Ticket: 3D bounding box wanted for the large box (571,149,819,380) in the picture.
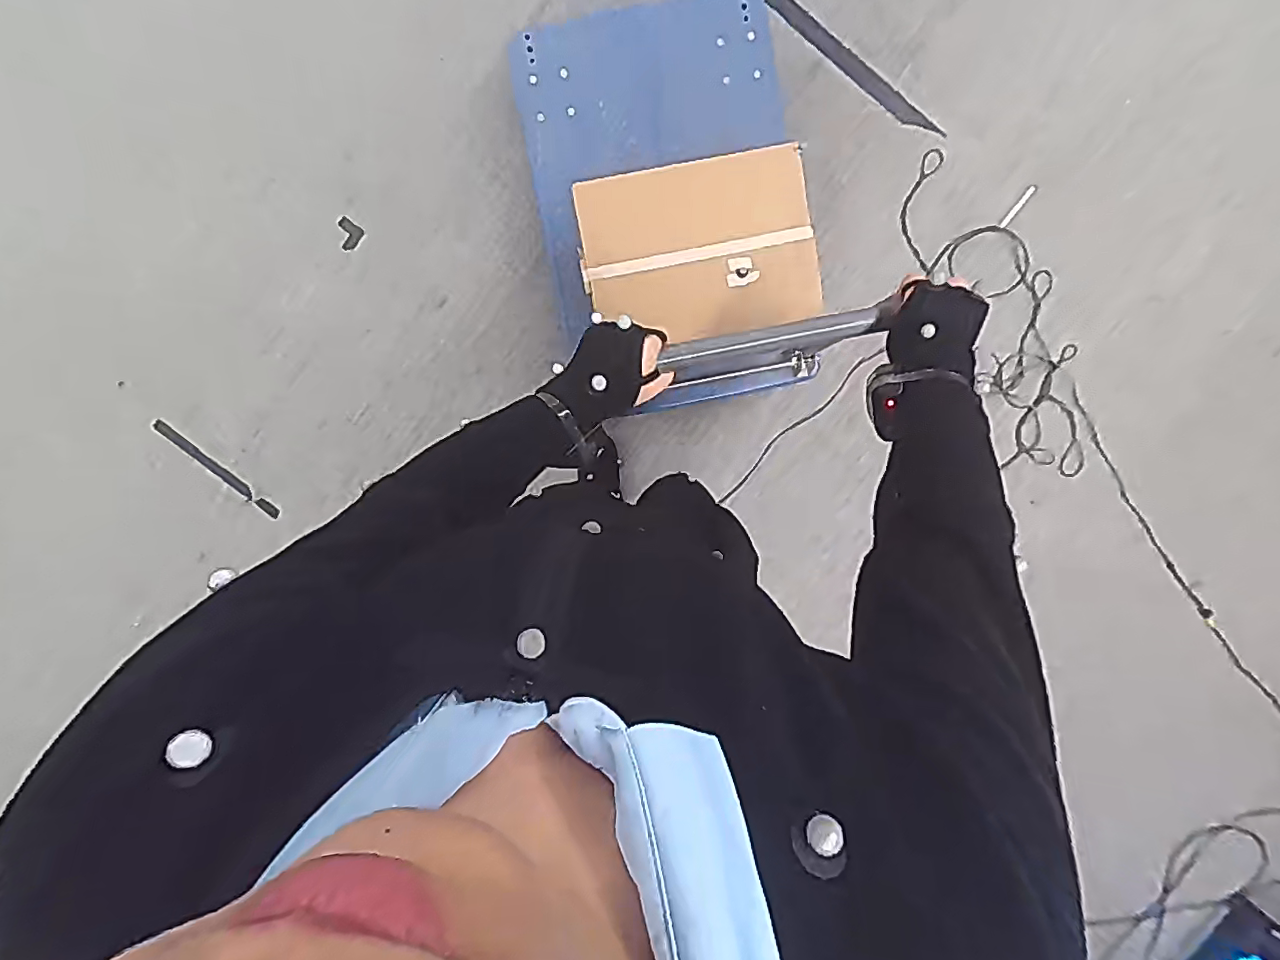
[{"bbox_3d":[0.096,-0.406,1.107,0.408,0.320,0.320,-11,97,-1],"label":"large box"}]
